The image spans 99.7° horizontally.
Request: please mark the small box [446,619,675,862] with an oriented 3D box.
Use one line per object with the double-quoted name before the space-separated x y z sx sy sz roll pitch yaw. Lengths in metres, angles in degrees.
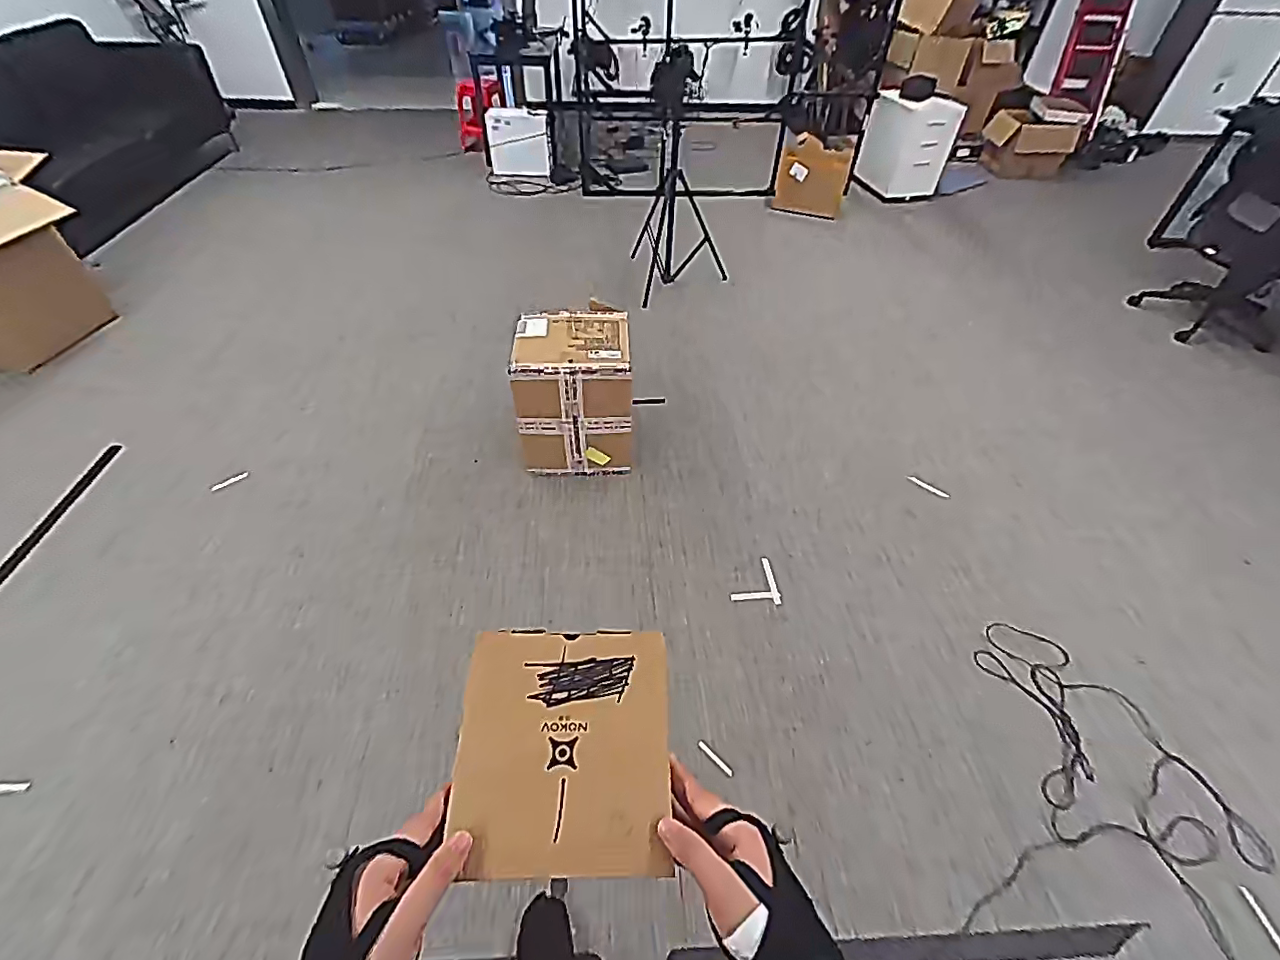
"small box" -0.060 0.241 0.495 0.168 0.176 0.179 1 57 -2
